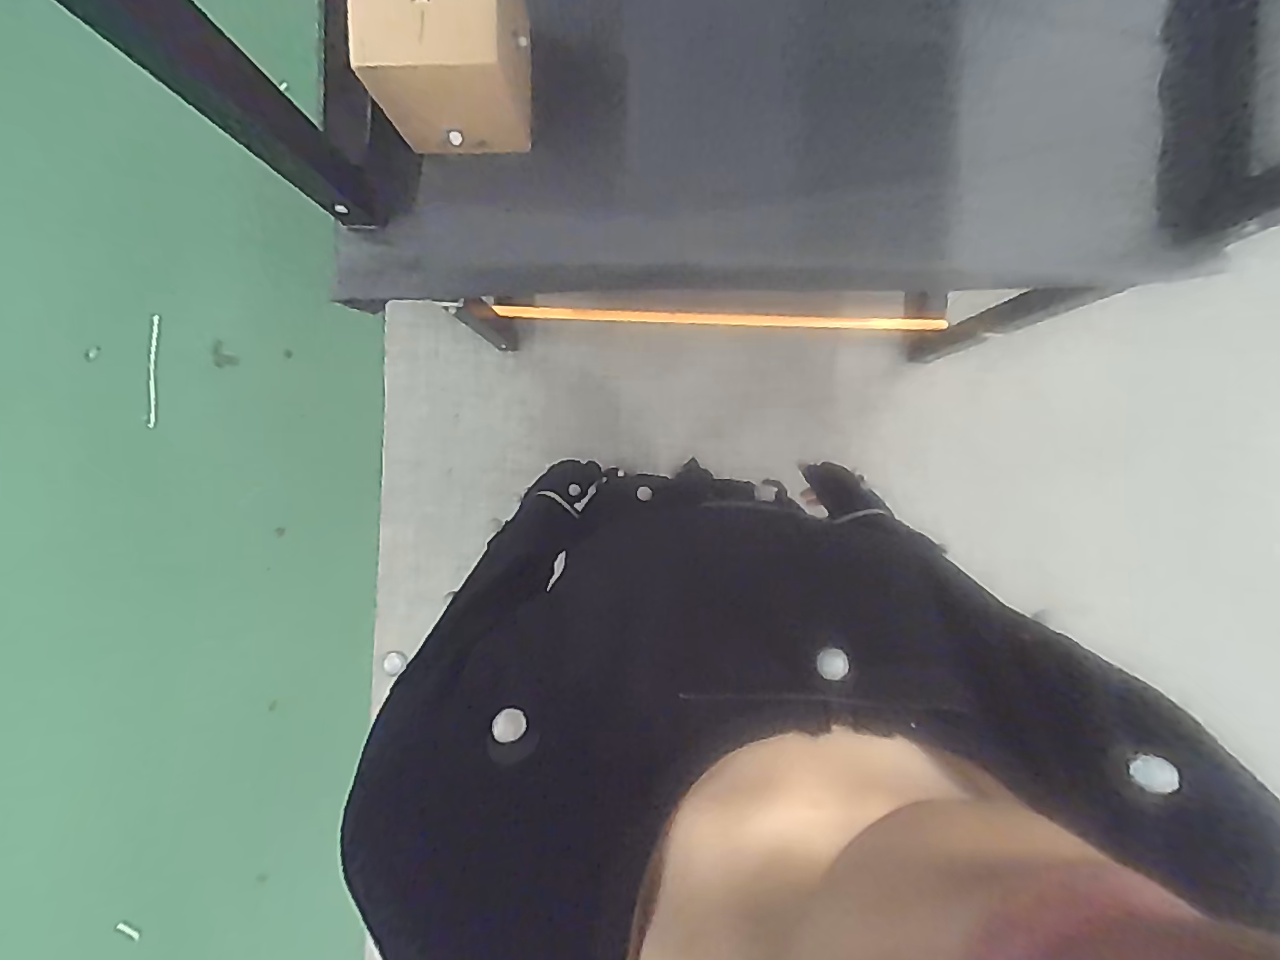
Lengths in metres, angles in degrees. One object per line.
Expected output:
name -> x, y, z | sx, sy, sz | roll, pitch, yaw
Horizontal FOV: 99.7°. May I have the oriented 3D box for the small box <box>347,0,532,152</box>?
small box -> -0.232, -0.539, 0.662 | 0.168, 0.176, 0.179 | 0, 92, 1
